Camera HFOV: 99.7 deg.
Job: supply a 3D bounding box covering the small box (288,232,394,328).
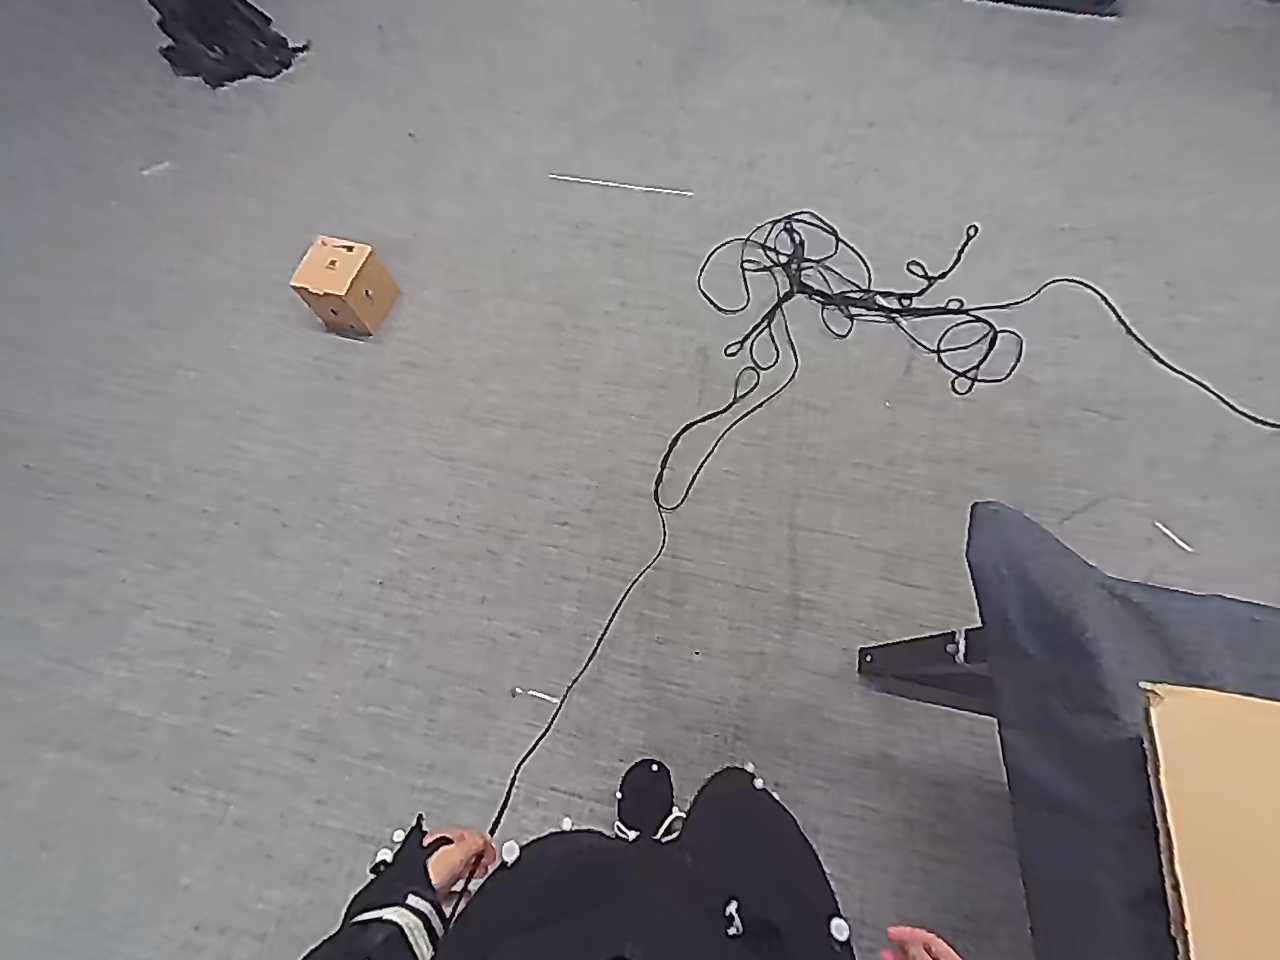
[{"bbox_3d":[-0.823,-0.552,1.512,0.168,0.176,0.179,15,71,6],"label":"small box"}]
